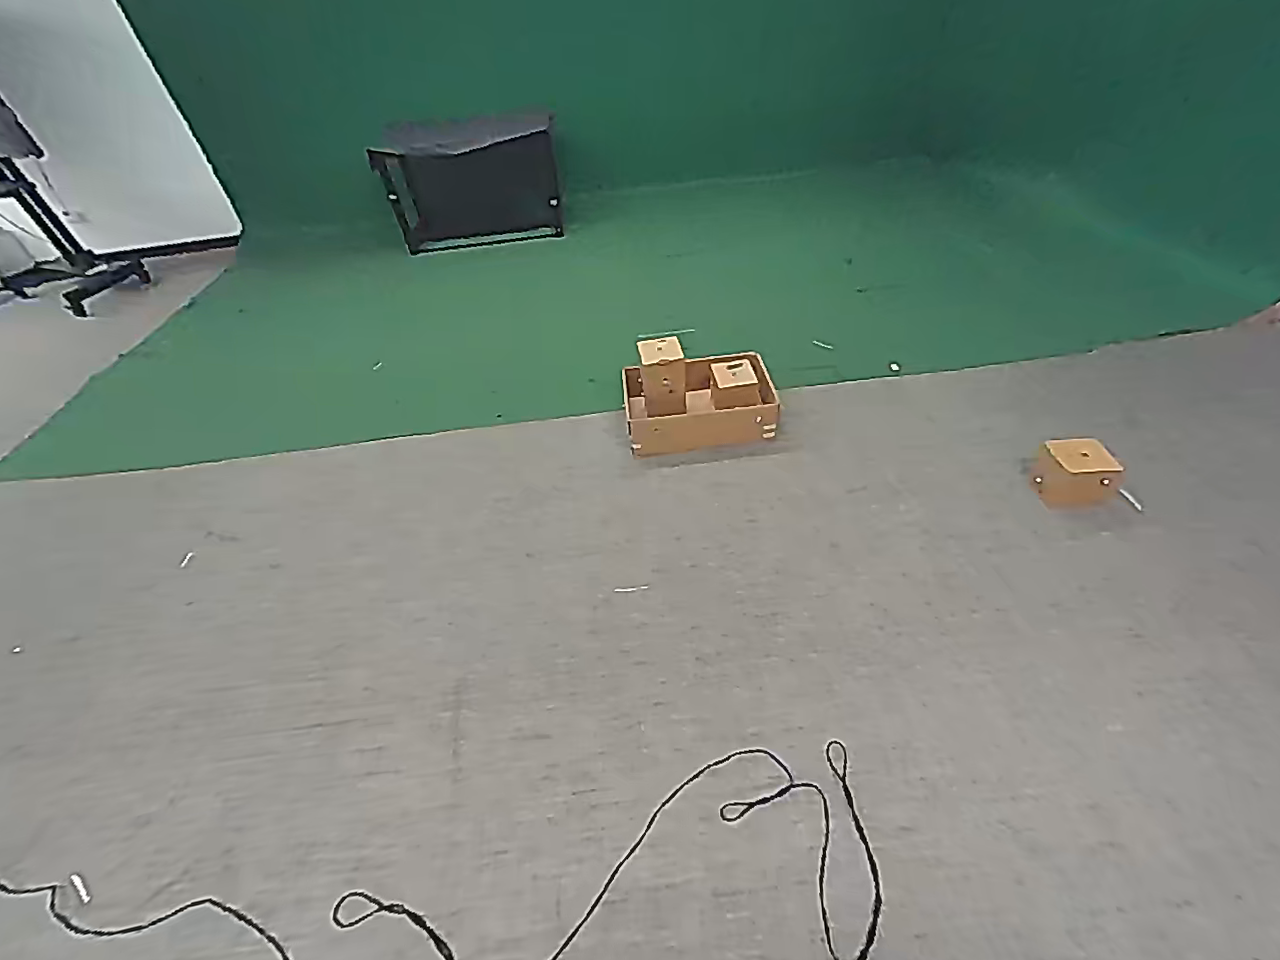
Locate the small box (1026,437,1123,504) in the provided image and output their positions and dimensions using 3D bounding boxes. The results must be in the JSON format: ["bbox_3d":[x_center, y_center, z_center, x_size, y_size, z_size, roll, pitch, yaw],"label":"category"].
[{"bbox_3d":[1.498,-0.031,1.878,0.179,0.176,0.168,-3,44,4],"label":"small box"}]

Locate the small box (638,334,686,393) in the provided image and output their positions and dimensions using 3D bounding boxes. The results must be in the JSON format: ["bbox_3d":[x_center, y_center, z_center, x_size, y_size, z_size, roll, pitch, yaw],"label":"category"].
[{"bbox_3d":[0.090,-0.466,2.193,0.168,0.176,0.179,-9,46,-2],"label":"small box"}]

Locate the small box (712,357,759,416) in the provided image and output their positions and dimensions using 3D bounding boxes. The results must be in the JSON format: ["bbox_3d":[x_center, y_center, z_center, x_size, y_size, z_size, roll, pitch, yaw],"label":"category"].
[{"bbox_3d":[0.404,-0.401,2.320,0.168,0.176,0.179,-9,46,0],"label":"small box"}]
